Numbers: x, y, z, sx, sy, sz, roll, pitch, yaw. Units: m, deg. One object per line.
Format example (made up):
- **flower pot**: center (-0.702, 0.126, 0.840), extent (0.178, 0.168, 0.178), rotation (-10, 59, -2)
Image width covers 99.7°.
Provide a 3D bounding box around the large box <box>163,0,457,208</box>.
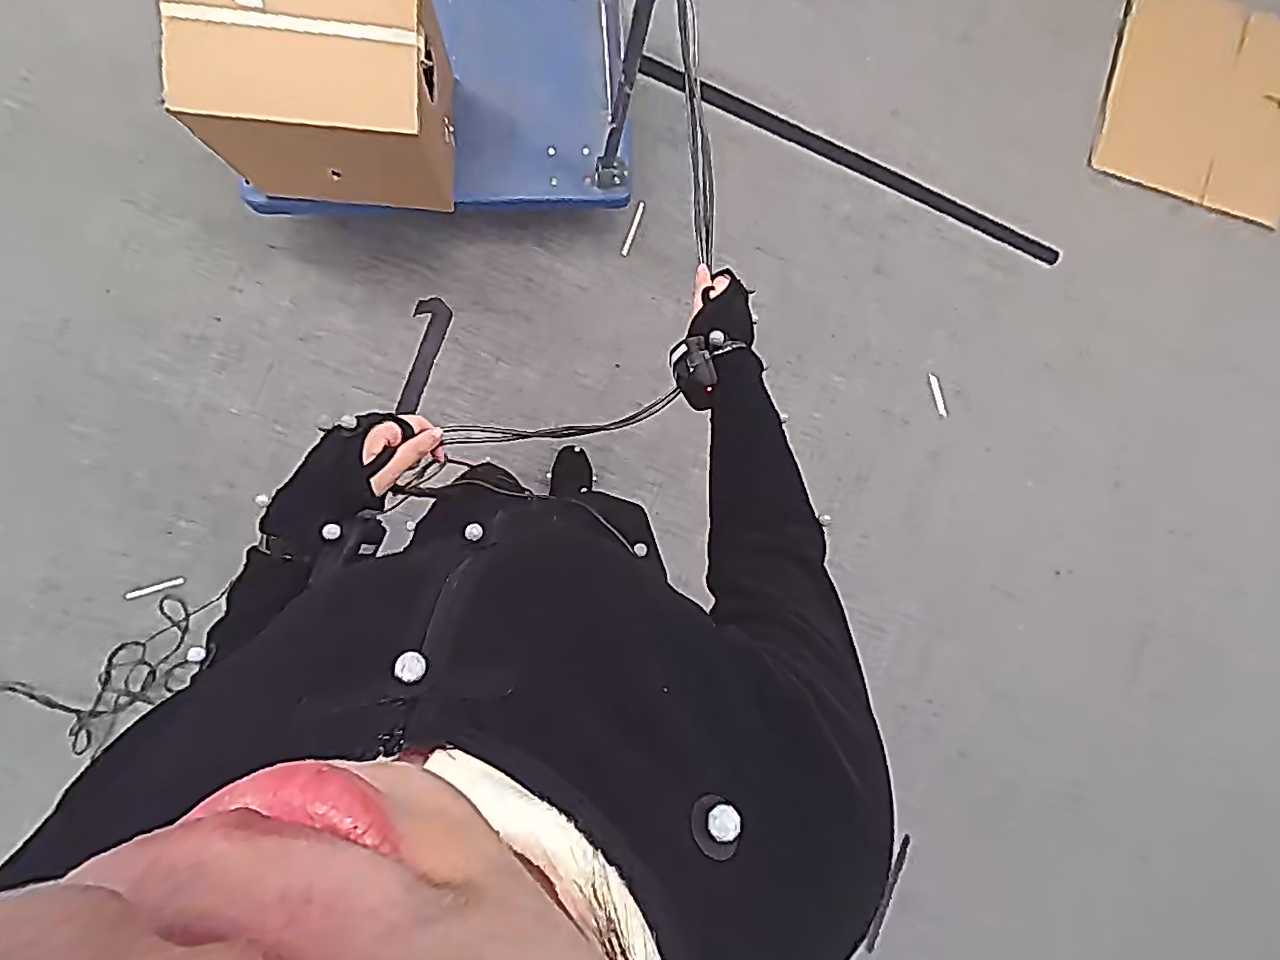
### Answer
- **large box**: center (-0.594, -0.758, 1.052), extent (0.408, 0.320, 0.320), rotation (1, 92, -7)
